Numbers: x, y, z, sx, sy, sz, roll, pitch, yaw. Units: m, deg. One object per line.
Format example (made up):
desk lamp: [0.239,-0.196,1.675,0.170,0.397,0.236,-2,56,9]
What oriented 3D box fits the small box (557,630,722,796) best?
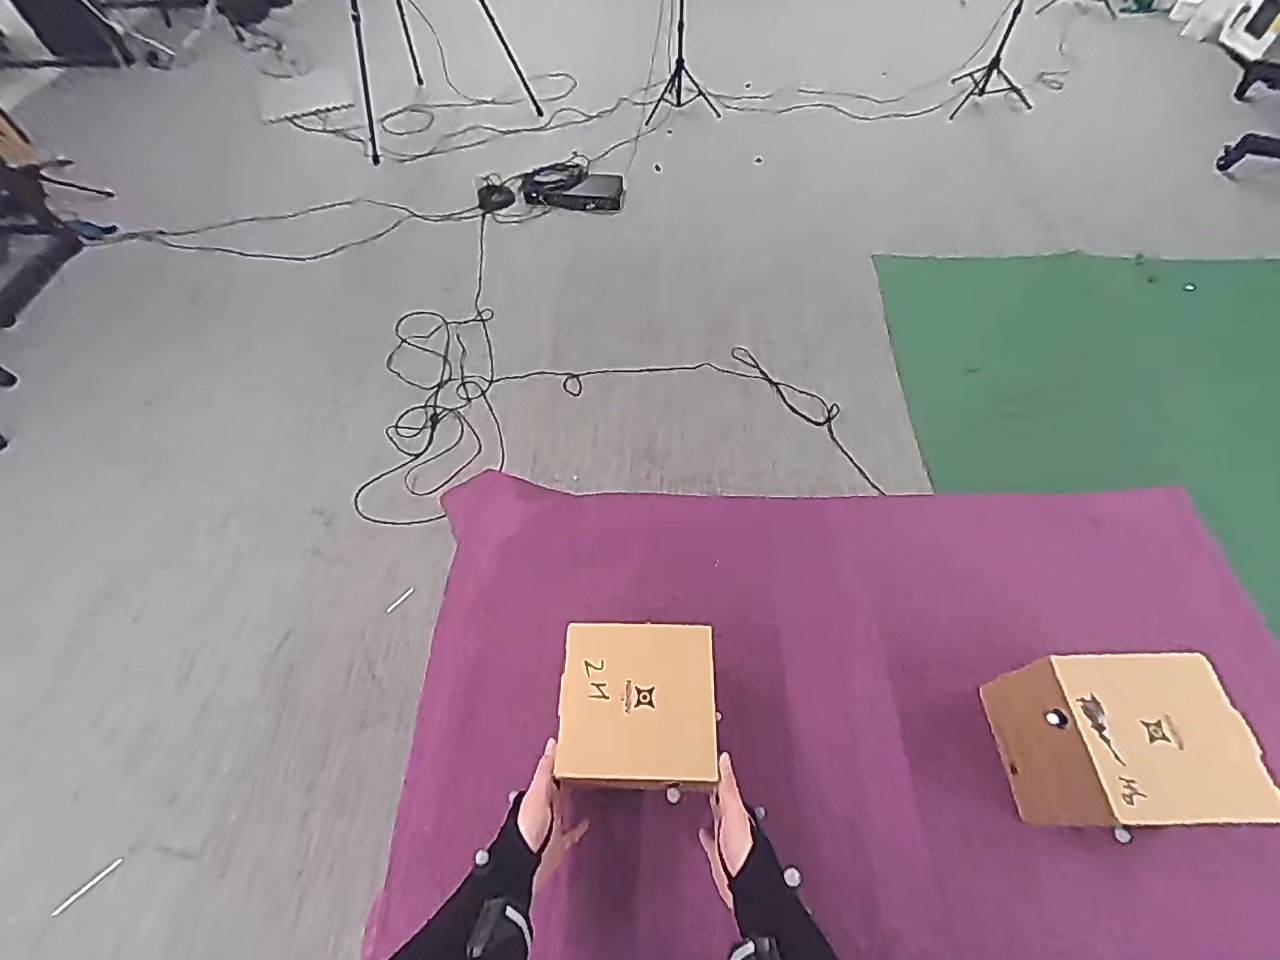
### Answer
small box: [0.003,0.295,0.676,0.179,0.176,0.168,0,57,3]

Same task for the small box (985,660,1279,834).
small box: [0.556,0.316,0.635,0.179,0.176,0.168,-1,56,2]
